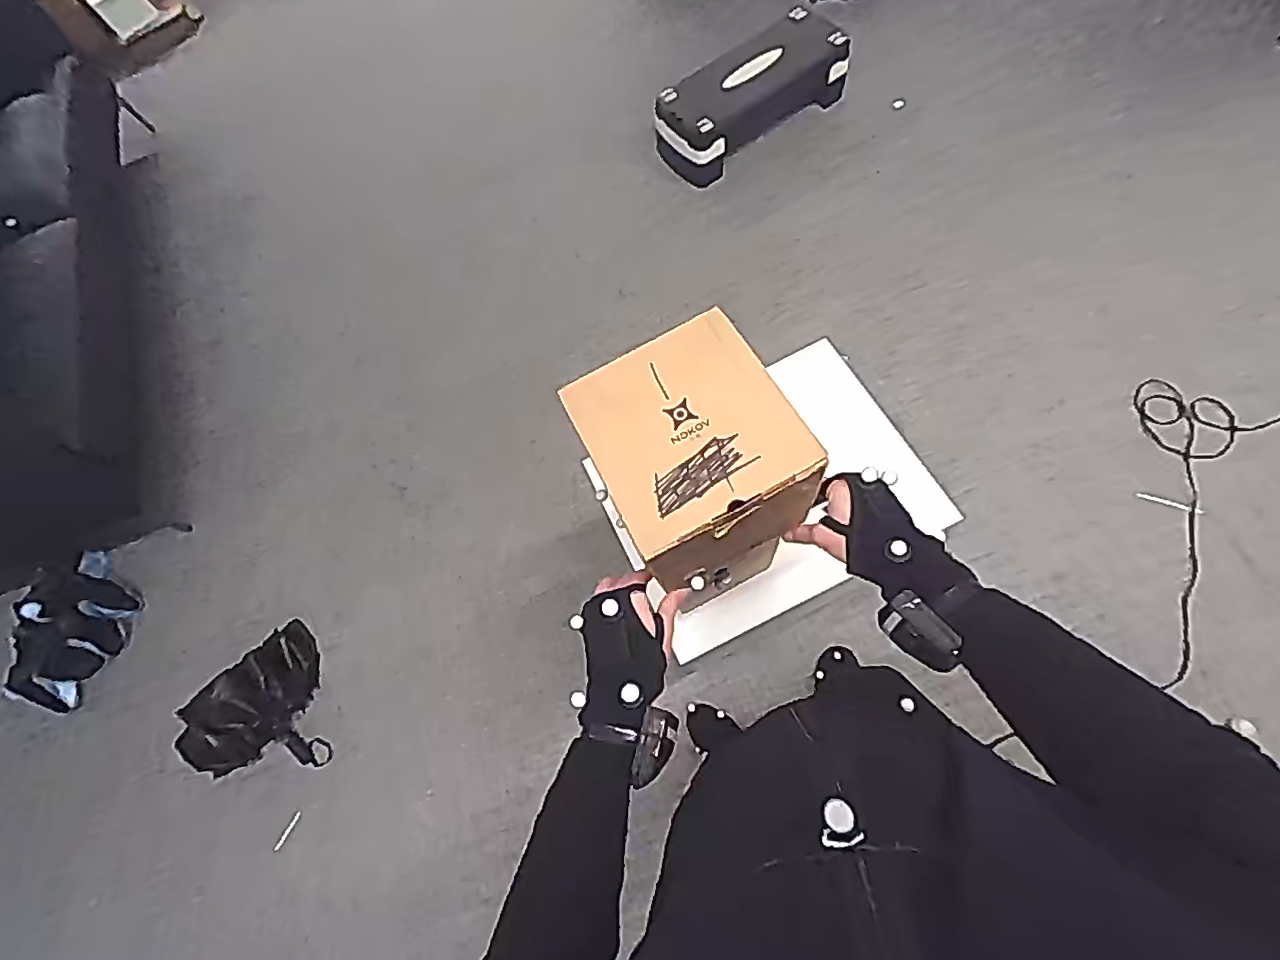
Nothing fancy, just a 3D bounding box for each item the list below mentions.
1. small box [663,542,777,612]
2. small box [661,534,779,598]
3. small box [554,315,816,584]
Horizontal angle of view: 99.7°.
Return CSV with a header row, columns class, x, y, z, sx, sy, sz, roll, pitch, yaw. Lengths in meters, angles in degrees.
class,x,y,z,sx,sy,sz,roll,pitch,yaw
small box,0.089,0.084,0.833,0.168,0.176,0.179,-28,69,-2
small box,0.063,0.028,0.681,0.168,0.176,0.179,-30,68,-2
small box,0.045,-0.014,0.522,0.168,0.176,0.179,-28,66,-1
